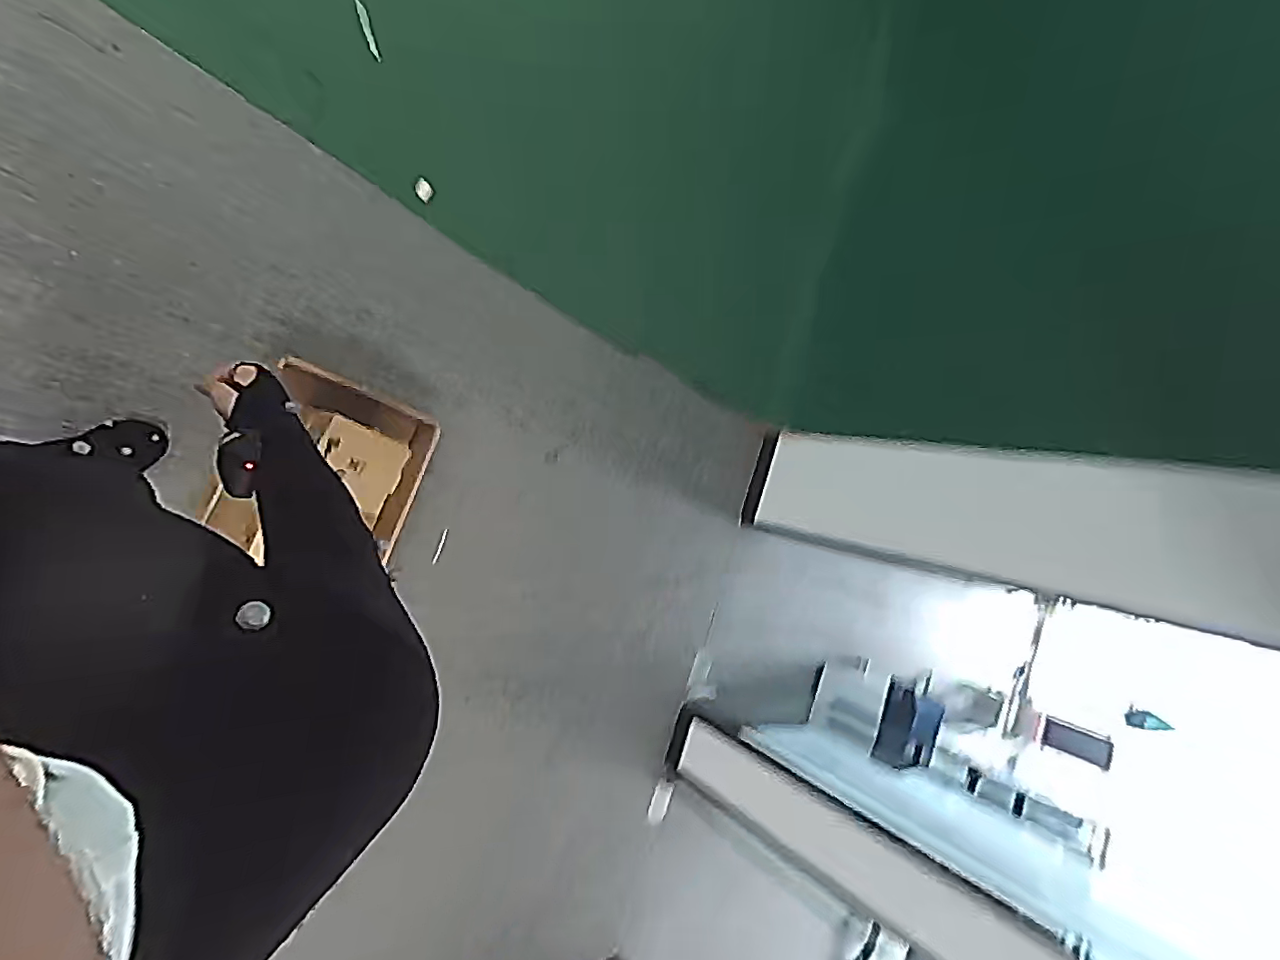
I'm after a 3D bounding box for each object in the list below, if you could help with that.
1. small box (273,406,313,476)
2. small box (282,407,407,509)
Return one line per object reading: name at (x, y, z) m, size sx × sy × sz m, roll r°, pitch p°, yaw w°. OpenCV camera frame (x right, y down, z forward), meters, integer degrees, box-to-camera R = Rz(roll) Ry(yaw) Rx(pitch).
small box at (-0.785, -0.077, 1.348) m, size 0.179 × 0.176 × 0.168 m, roll 25°, pitch 83°, yaw -42°
small box at (-0.673, -0.056, 1.229) m, size 0.179 × 0.176 × 0.168 m, roll 34°, pitch 77°, yaw -41°
